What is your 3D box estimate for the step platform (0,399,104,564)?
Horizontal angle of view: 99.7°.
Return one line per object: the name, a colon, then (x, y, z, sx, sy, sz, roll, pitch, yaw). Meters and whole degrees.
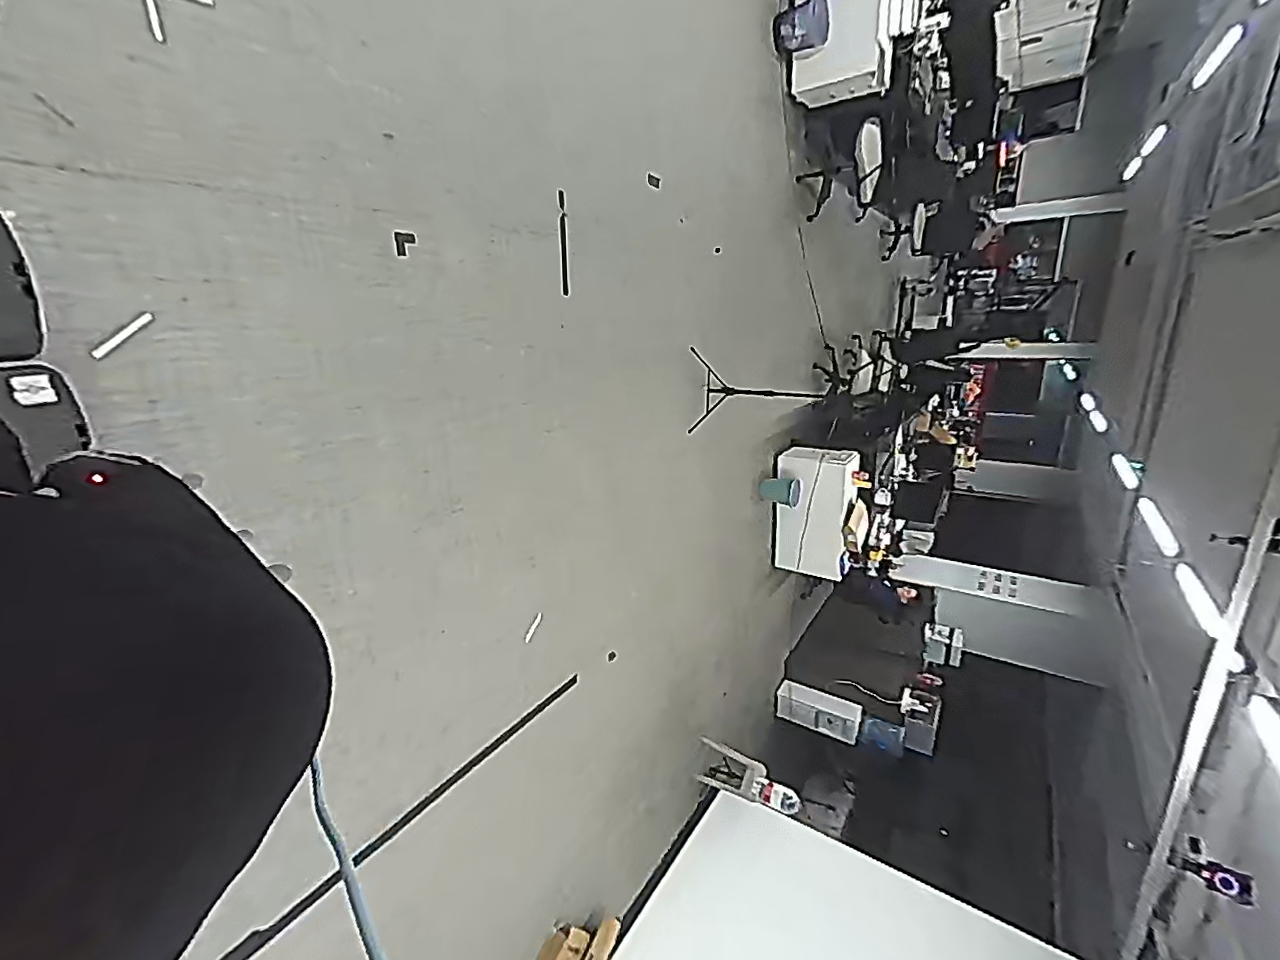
step platform: (-1.289, 0.035, 0.815, 0.684, 0.204, 0.286, -16, 108, -52)
